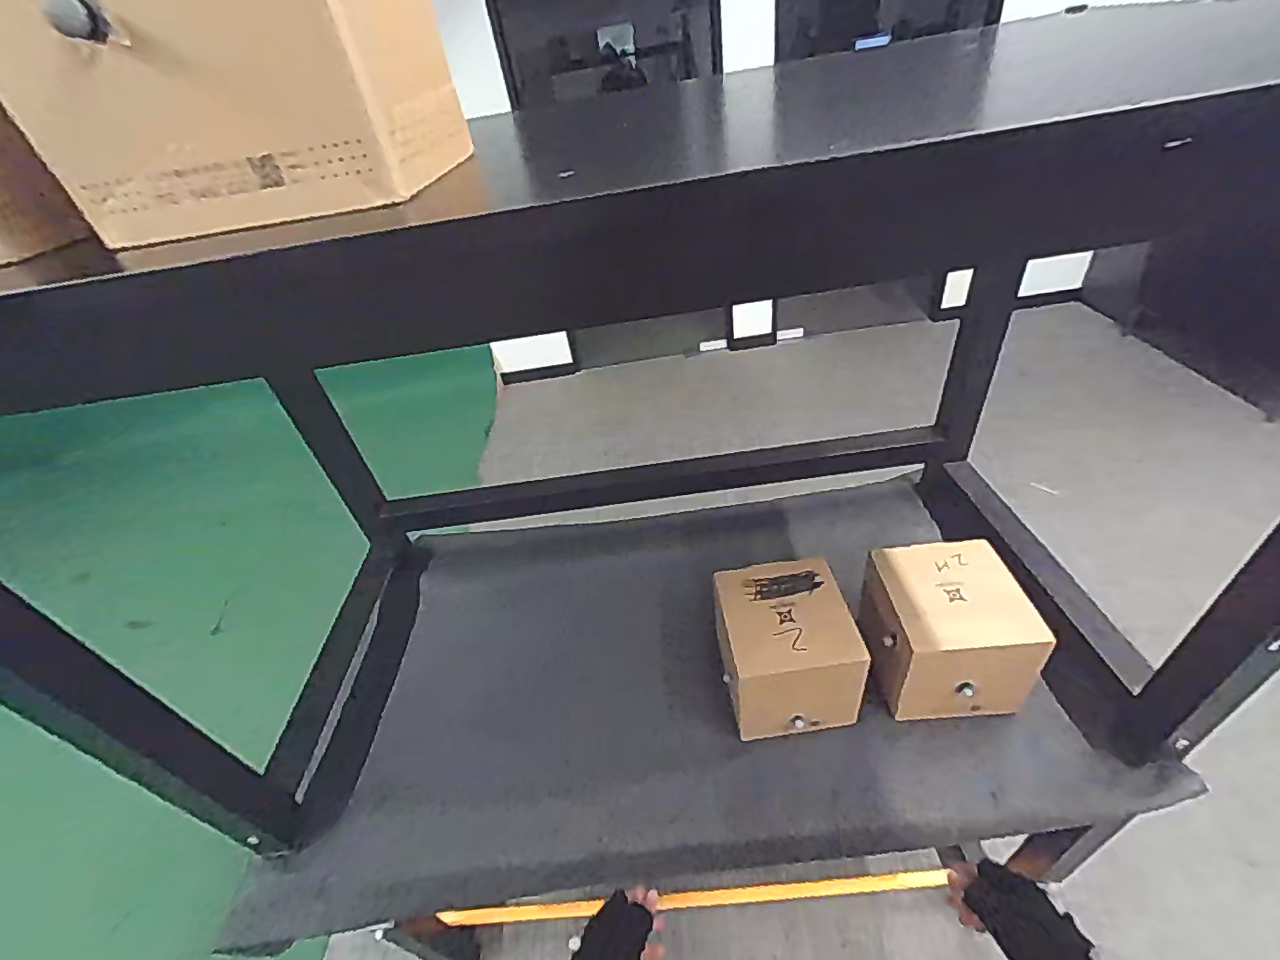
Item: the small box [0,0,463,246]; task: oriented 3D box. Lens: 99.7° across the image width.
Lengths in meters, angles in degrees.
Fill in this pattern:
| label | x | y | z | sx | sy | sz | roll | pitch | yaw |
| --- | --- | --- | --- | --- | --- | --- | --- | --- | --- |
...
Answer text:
| label | x | y | z | sx | sy | sz | roll | pitch | yaw |
| --- | --- | --- | --- | --- | --- | --- | --- | --- | --- |
| small box | -0.219 | -0.244 | 0.307 | 0.168 | 0.176 | 0.179 | -7 | 38 | 4 |
